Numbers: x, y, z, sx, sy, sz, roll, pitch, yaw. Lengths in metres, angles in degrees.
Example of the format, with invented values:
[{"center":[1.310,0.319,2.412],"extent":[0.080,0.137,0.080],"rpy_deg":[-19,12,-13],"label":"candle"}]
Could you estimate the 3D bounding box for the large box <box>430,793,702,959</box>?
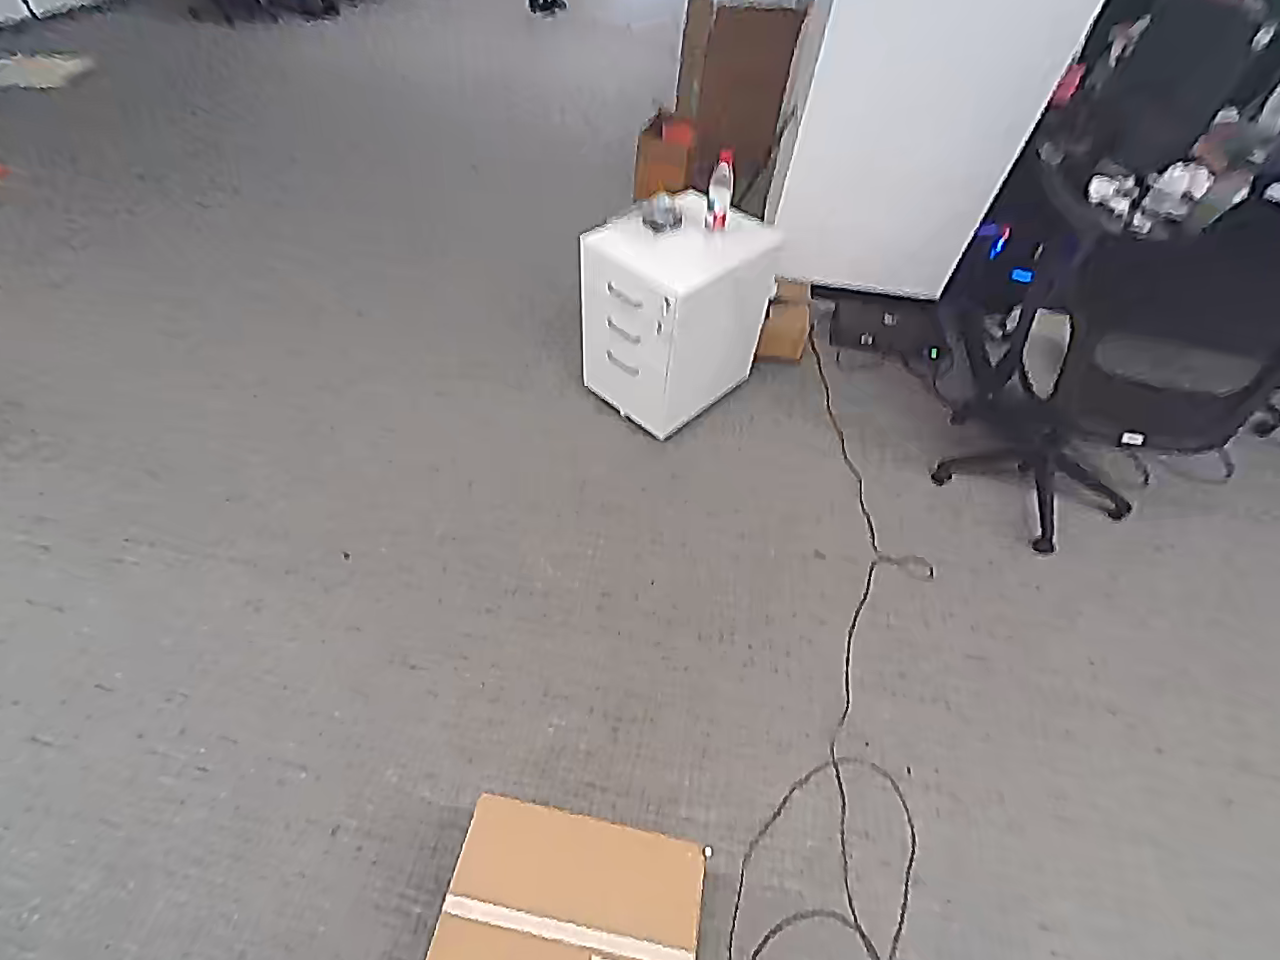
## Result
[{"center":[-0.125,0.802,0.970],"extent":[0.408,0.320,0.320],"rpy_deg":[11,51,3],"label":"large box"}]
